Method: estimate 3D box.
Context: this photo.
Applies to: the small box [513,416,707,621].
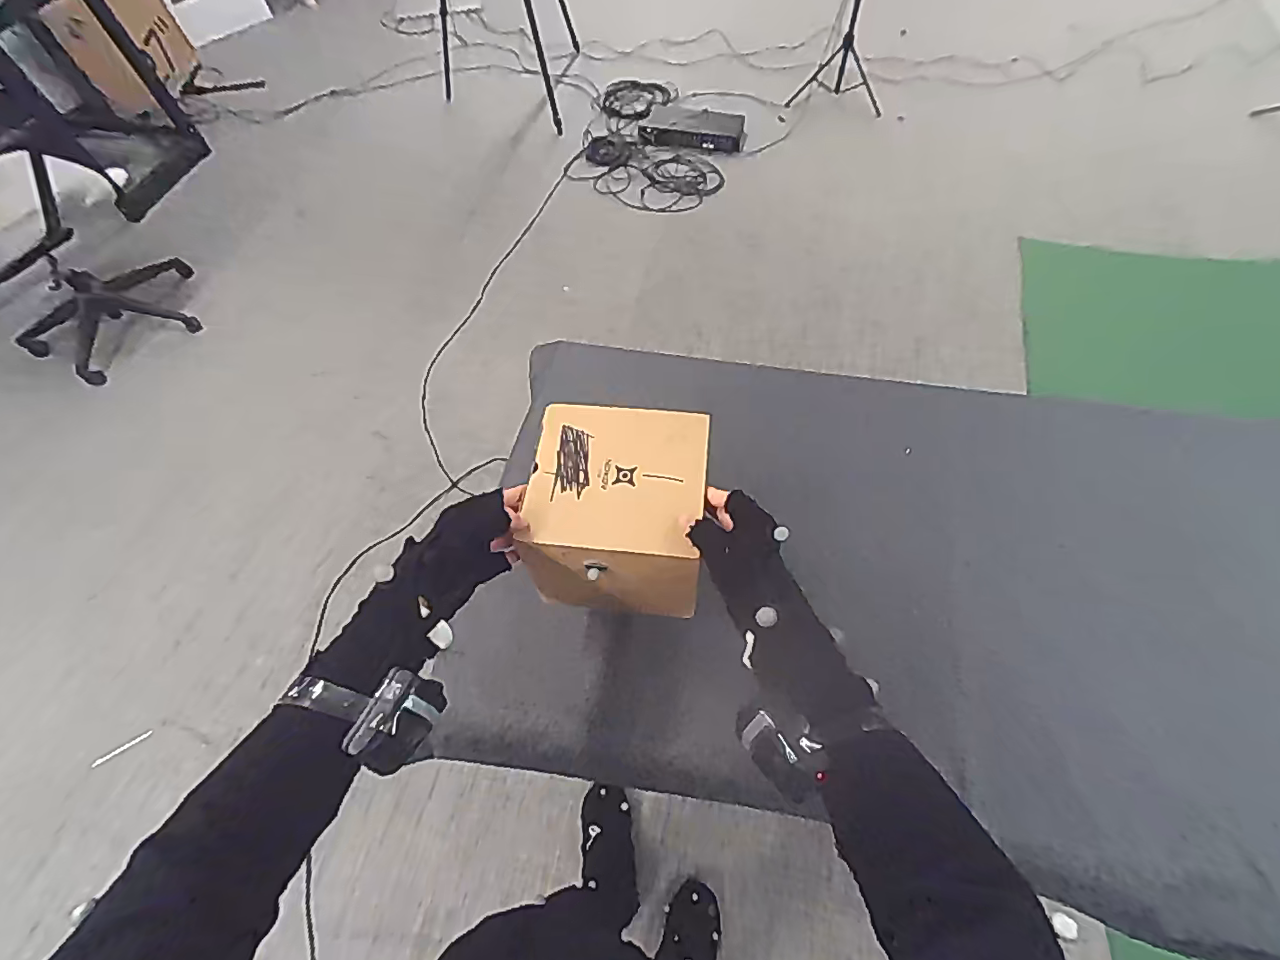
[{"bbox_3d":[-0.021,0.048,0.603,0.179,0.176,0.168,5,57,5],"label":"small box"}]
